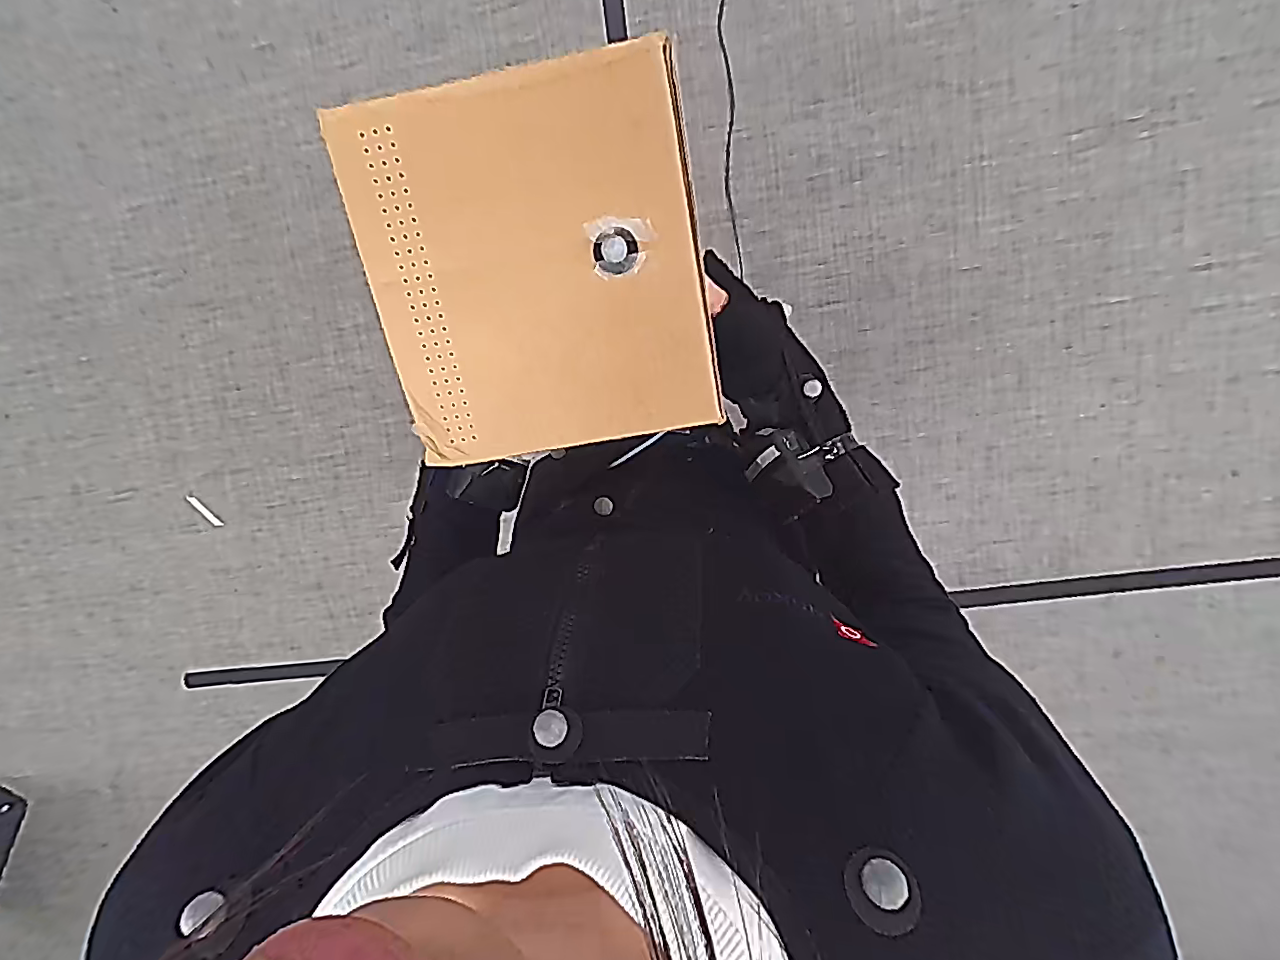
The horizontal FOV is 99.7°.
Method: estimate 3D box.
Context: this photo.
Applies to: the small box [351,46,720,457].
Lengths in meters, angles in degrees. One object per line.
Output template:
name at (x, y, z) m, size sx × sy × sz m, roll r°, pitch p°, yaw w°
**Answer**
small box at (-0.051, -0.128, 0.353) m, size 0.176 × 0.168 × 0.179 m, roll -9°, pitch 107°, yaw 5°
